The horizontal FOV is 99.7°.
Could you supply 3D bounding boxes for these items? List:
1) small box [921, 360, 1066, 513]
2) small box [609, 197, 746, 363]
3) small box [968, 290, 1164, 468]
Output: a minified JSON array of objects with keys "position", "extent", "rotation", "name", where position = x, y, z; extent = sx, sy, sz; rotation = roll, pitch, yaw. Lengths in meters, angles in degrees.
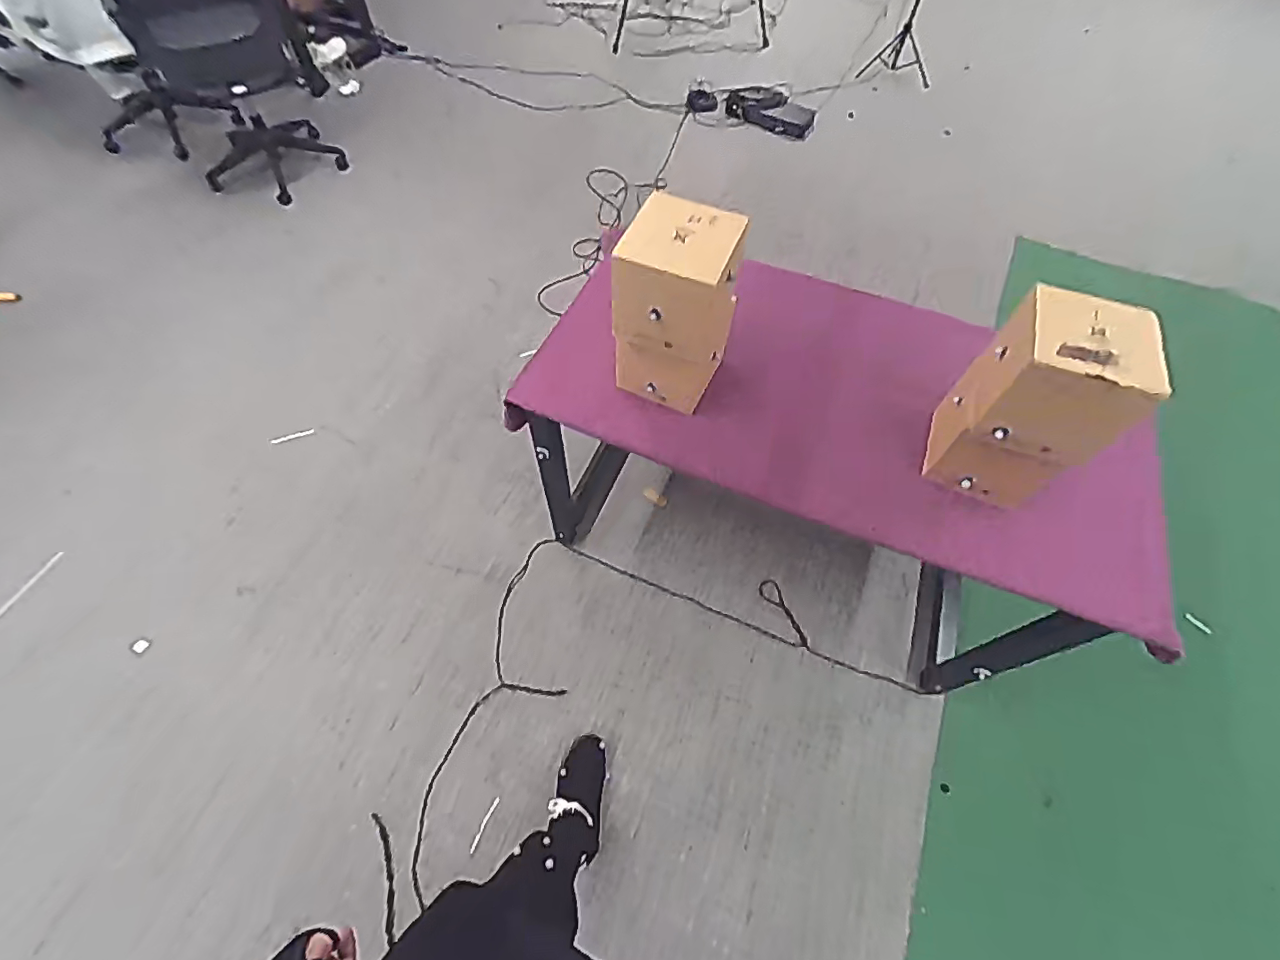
[{"position":[0.626,-0.074,0.958],"extent":[0.168,0.176,0.179],"rotation":[22,60,13],"name":"small box"},{"position":[0.060,-0.324,0.894],"extent":[0.168,0.176,0.179],"rotation":[21,61,9],"name":"small box"},{"position":[0.621,-0.146,0.809],"extent":[0.168,0.176,0.179],"rotation":[20,58,11],"name":"small box"}]
